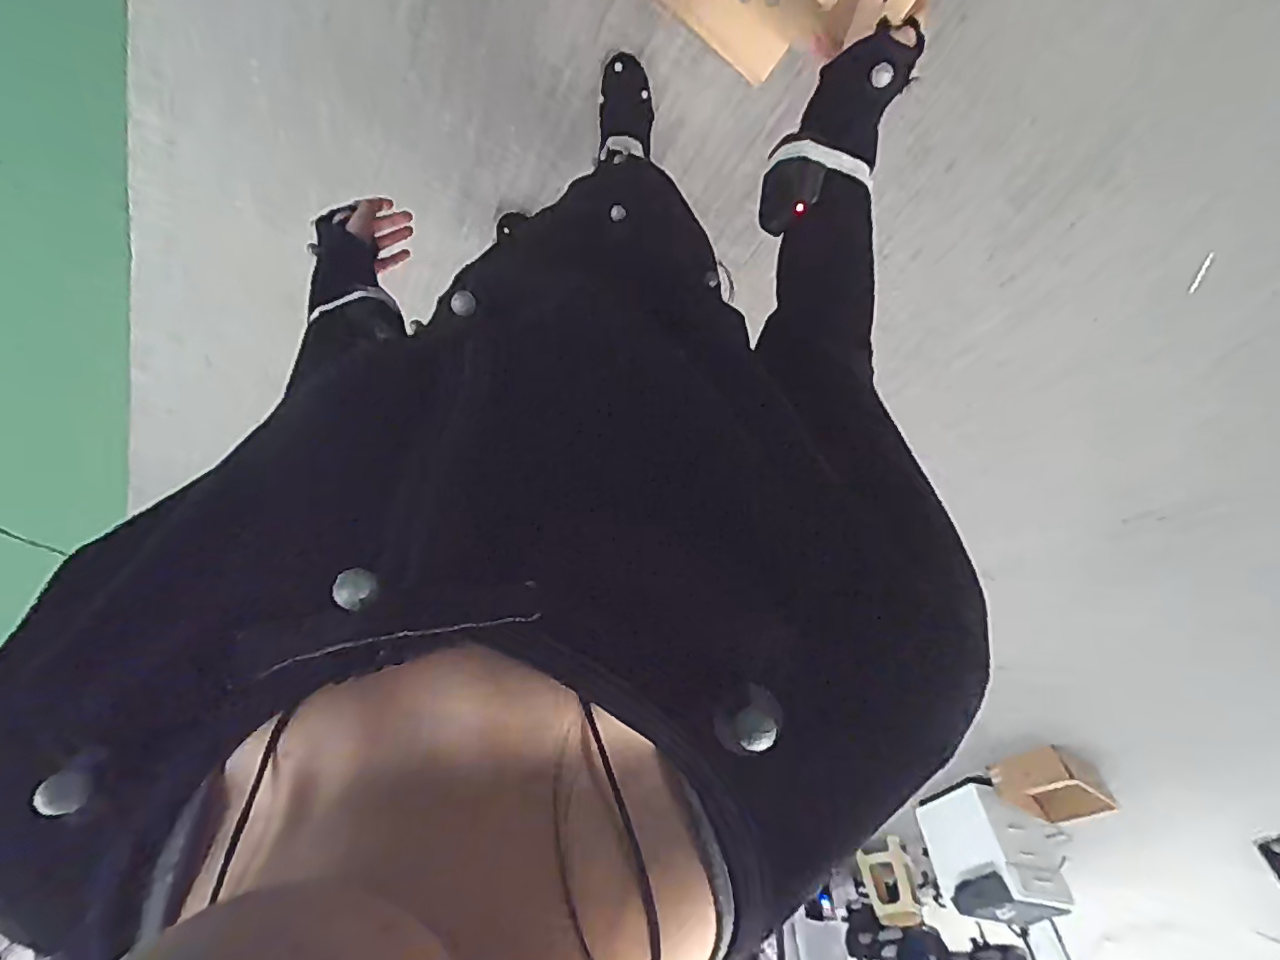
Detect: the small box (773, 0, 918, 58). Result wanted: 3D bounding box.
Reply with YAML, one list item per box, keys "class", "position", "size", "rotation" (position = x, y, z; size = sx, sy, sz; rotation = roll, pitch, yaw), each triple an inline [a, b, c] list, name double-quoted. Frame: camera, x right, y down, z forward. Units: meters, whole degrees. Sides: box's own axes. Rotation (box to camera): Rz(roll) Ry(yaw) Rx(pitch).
- class: "small box"
  position: [0.181, -0.507, 0.461]
  size: [0.179, 0.176, 0.168]
  rotation: [30, 124, -18]

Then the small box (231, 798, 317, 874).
- class: "small box"
  position: [-1.236, 1.206, 1.835]
  size: [0.179, 0.176, 0.168]
  rotation: [30, 125, -20]
